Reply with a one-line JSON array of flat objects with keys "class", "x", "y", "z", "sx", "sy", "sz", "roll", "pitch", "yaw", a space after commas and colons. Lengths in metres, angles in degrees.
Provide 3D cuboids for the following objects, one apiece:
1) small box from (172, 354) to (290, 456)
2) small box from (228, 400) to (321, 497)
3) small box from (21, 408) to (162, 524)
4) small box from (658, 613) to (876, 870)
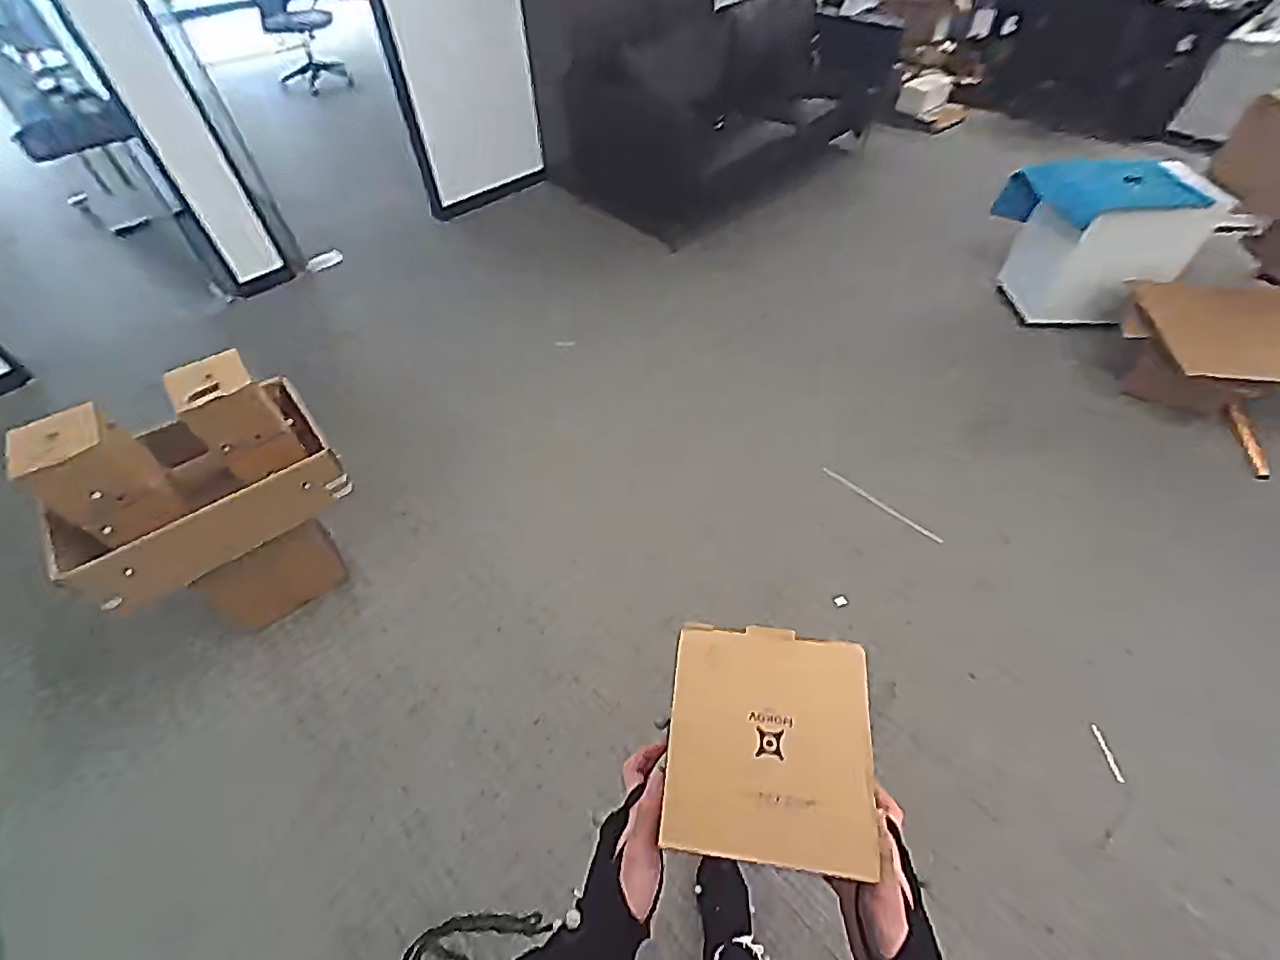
[{"class": "small box", "x": -1.036, "y": -0.183, "z": 1.381, "sx": 0.168, "sy": 0.176, "sz": 0.179, "roll": -32, "pitch": 58, "yaw": -22}, {"class": "small box", "x": -1.037, "y": -0.087, "z": 1.515, "sx": 0.168, "sy": 0.176, "sz": 0.179, "roll": -33, "pitch": 59, "yaw": -23}, {"class": "small box", "x": -1.273, "y": -0.030, "z": 1.264, "sx": 0.168, "sy": 0.176, "sz": 0.179, "roll": -32, "pitch": 57, "yaw": -21}, {"class": "small box", "x": 0.107, "y": 0.243, "z": 0.515, "sx": 0.168, "sy": 0.176, "sz": 0.179, "roll": 5, "pitch": 61, "yaw": 6}]
